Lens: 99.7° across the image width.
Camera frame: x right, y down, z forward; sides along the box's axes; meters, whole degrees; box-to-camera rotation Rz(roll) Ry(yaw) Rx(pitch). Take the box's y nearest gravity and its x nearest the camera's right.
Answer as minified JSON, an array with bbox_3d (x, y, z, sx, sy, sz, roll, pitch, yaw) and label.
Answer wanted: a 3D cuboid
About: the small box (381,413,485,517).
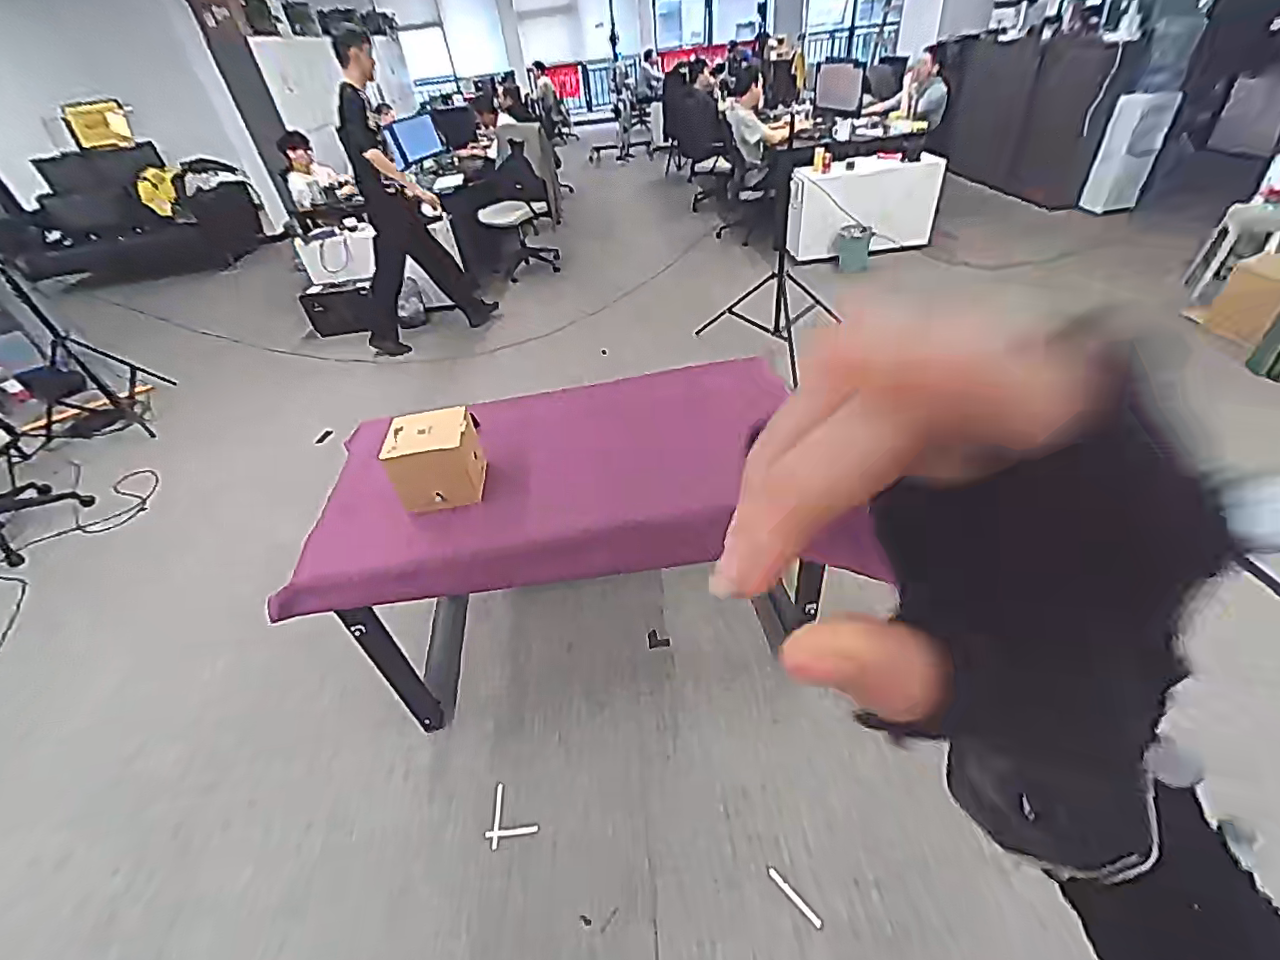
[{"bbox_3d":[-0.474,-0.035,1.273,0.179,0.176,0.168,-9,39,-3],"label":"small box"}]
